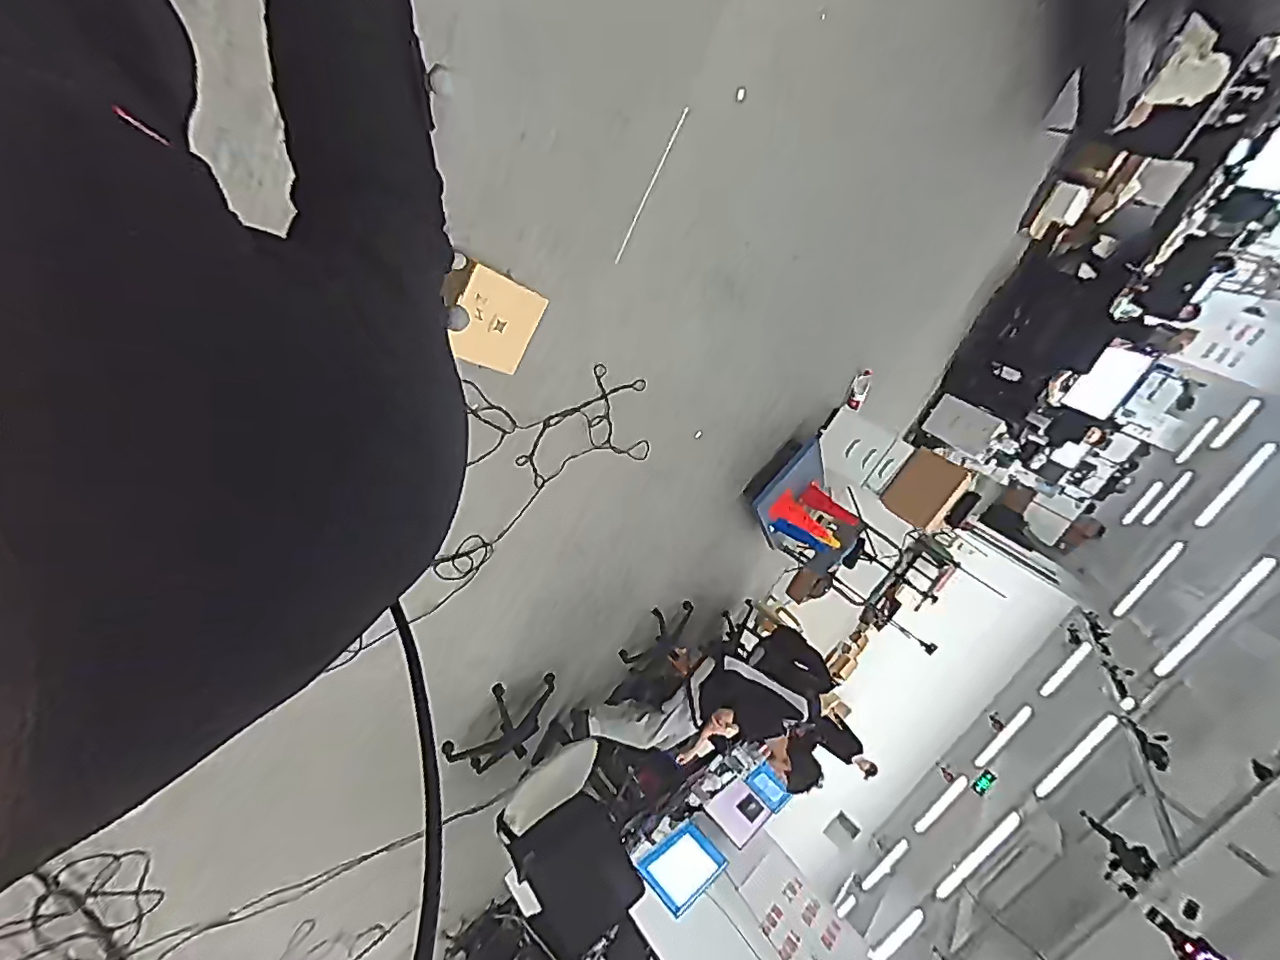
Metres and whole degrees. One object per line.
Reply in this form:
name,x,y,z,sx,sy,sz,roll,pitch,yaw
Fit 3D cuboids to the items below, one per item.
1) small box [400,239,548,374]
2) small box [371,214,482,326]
small box,-0.316,-0.329,1.026,0.179,0.176,0.168,9,115,-55
small box,-0.427,-0.412,1.115,0.168,0.176,0.179,7,117,-54
